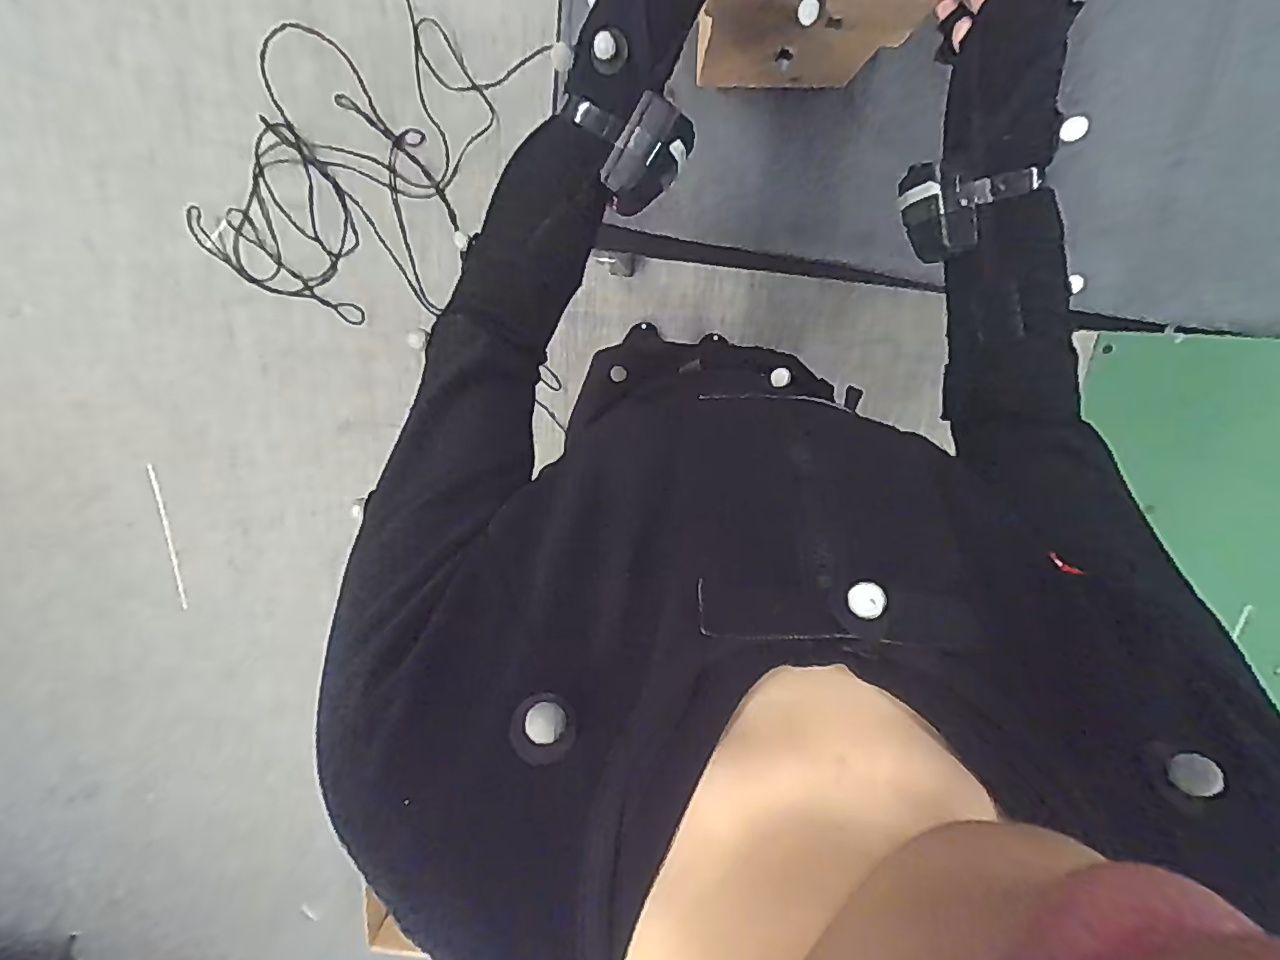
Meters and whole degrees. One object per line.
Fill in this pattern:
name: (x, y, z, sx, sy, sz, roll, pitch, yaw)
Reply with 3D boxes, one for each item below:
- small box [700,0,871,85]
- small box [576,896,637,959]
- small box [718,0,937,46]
small box: (0.146, -0.493, 0.497, 0.168, 0.176, 0.179, 1, 106, 0)
small box: (-0.098, 1.412, 1.648, 0.168, 0.176, 0.179, -2, 105, 3)
small box: (0.144, -0.425, 0.337, 0.168, 0.176, 0.179, 8, 106, -1)
